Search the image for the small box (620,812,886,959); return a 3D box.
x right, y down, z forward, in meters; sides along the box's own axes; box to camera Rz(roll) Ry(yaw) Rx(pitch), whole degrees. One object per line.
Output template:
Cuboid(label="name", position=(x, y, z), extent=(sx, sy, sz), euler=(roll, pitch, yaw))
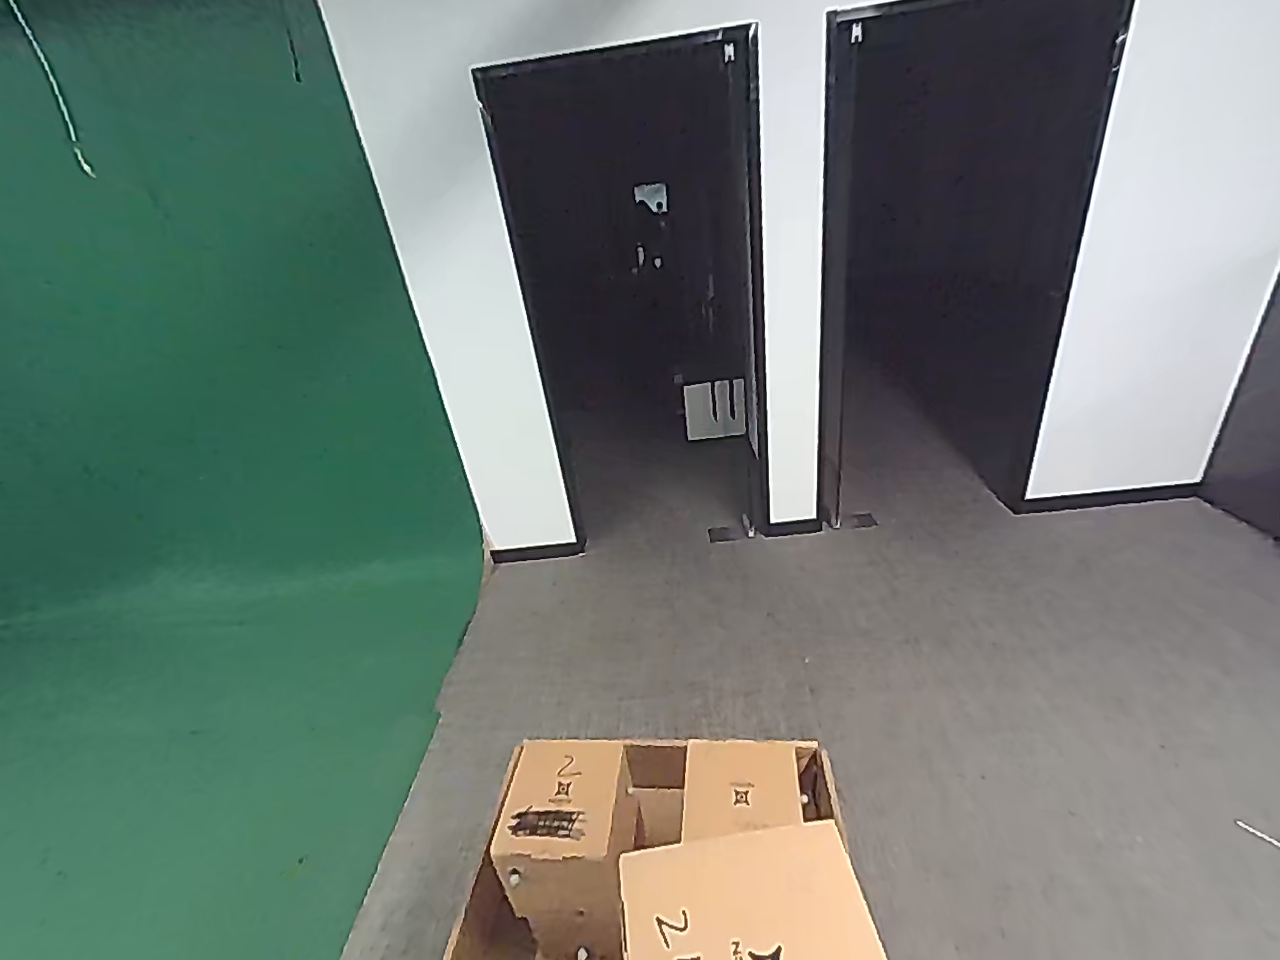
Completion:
Cuboid(label="small box", position=(0.085, 0.387, 0.408), extent=(0.179, 0.176, 0.168), euler=(-9, 33, -1))

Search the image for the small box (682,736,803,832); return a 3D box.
Cuboid(label="small box", position=(0.158, 0.516, 0.808), extent=(0.168, 0.176, 0.179), euler=(-4, 29, 12))
